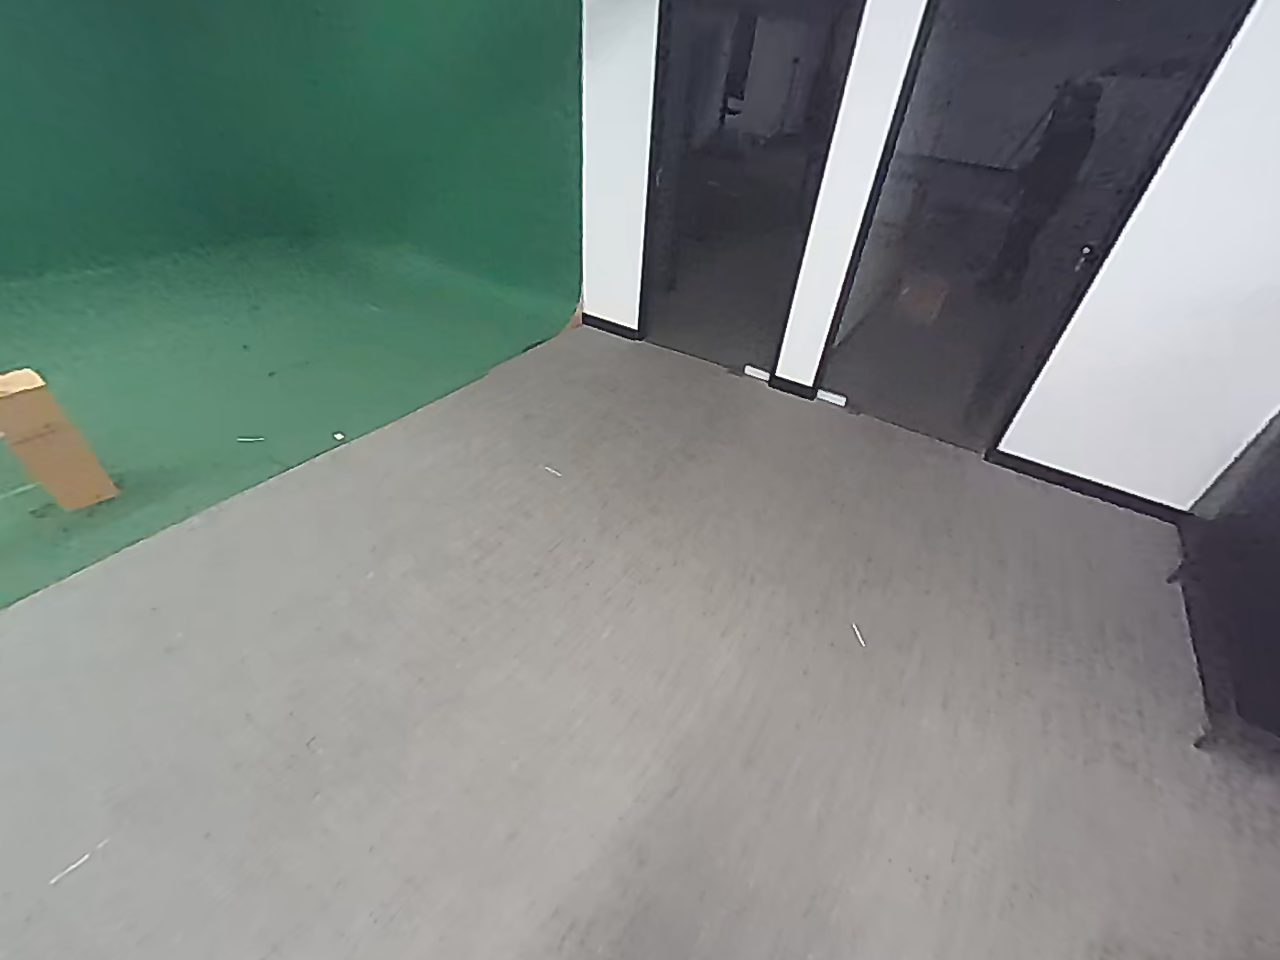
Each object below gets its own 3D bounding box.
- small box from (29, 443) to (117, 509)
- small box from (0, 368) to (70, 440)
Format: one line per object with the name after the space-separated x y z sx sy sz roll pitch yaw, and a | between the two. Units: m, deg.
-2.166 -0.010 2.072 0.179 0.176 0.168 31 44 29 | small box
-2.135 -0.260 1.861 0.179 0.176 0.168 27 42 26 | small box
